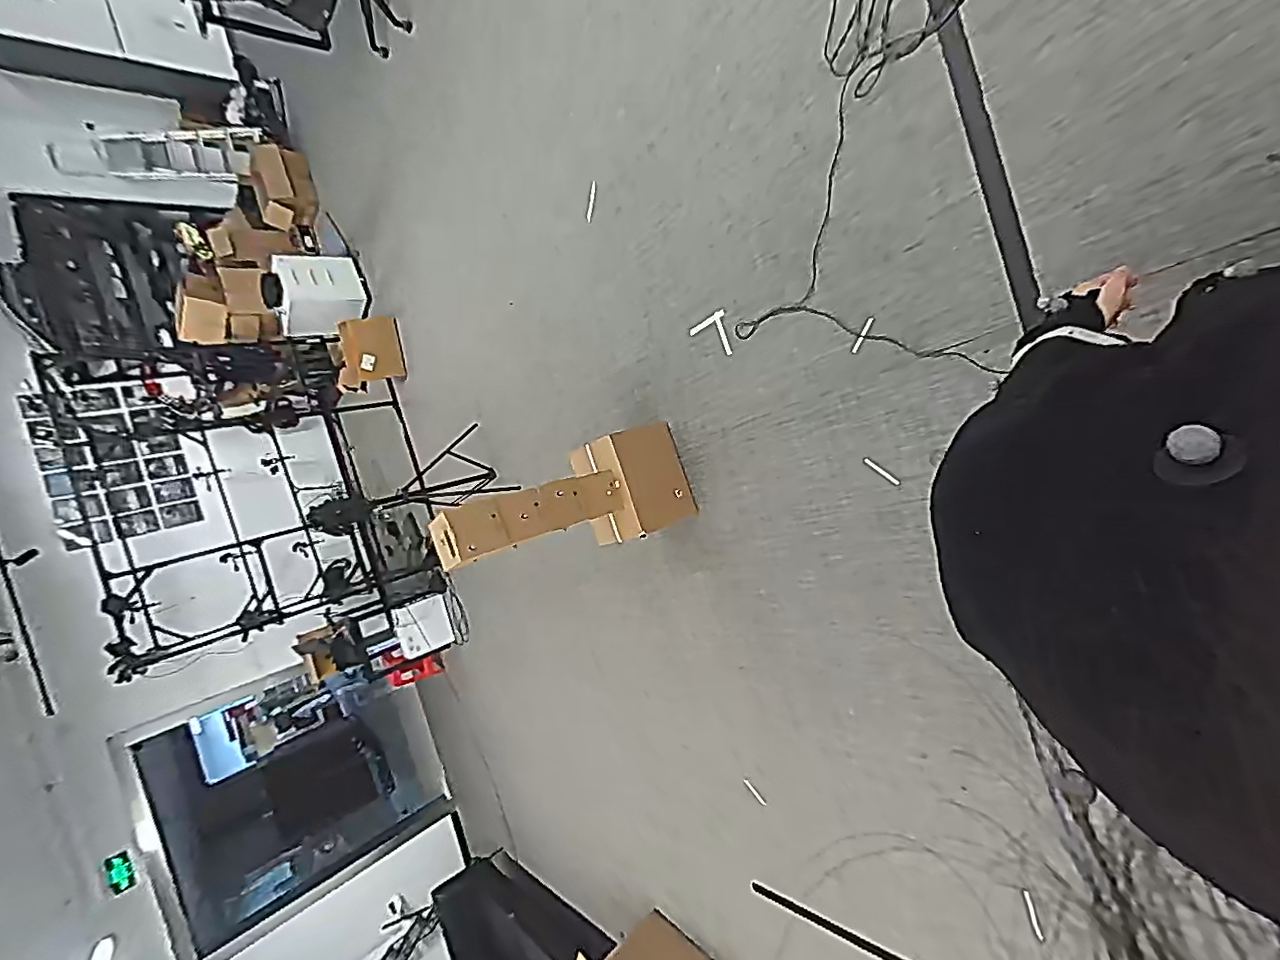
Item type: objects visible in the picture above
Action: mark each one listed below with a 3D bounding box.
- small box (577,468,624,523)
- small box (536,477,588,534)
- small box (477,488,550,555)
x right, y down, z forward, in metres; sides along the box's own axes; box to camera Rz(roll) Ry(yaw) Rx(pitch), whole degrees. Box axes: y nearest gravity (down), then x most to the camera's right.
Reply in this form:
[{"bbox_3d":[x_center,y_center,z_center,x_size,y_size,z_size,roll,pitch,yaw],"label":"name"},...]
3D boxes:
[{"bbox_3d":[-0.188,0.065,2.061,0.179,0.176,0.168,-21,88,50],"label":"small box"},{"bbox_3d":[-0.306,0.097,1.953,0.179,0.176,0.168,-24,84,51],"label":"small box"},{"bbox_3d":[-0.428,0.139,1.851,0.179,0.176,0.168,-29,79,49],"label":"small box"}]
